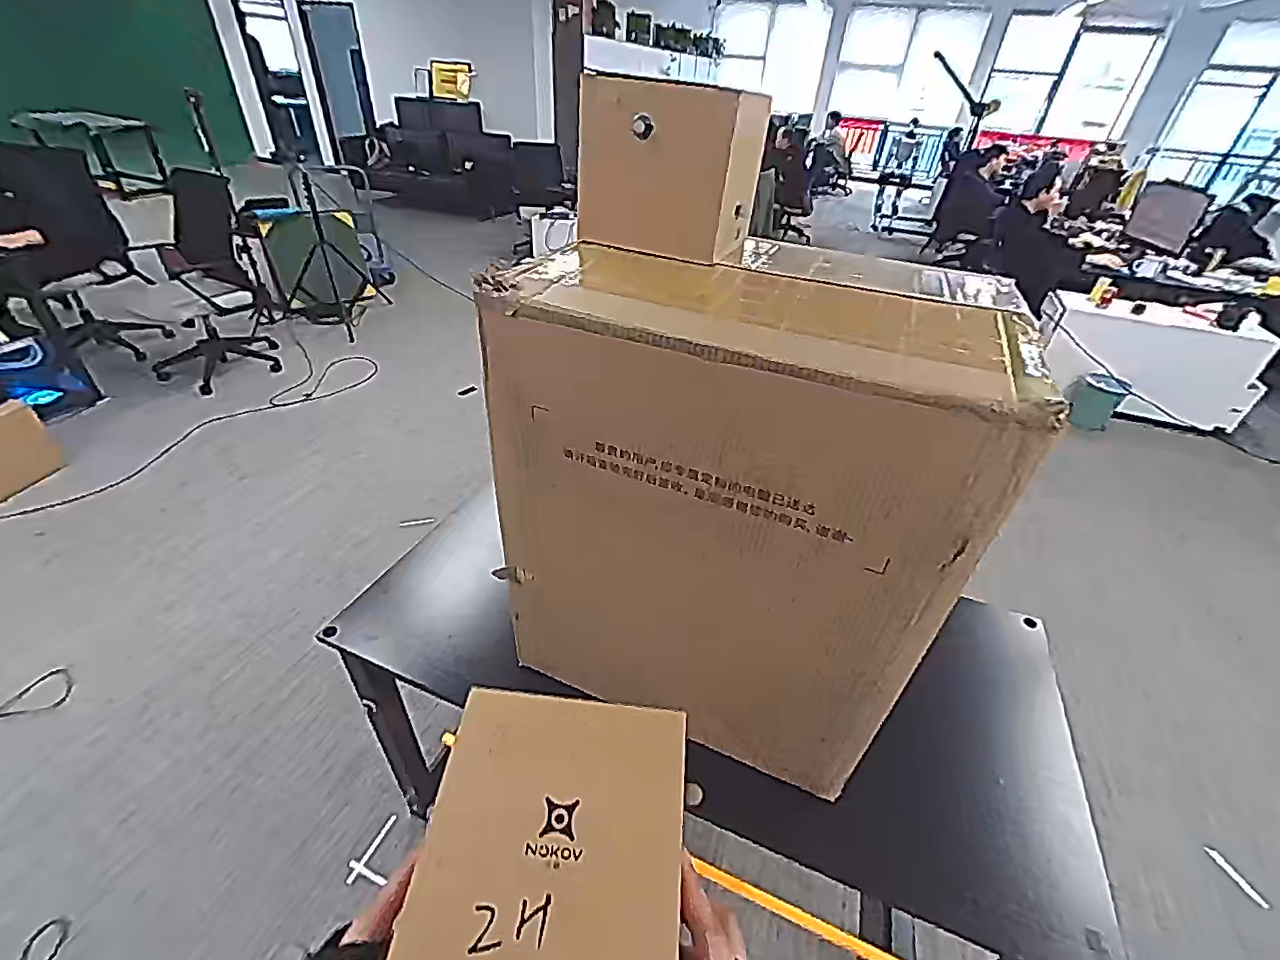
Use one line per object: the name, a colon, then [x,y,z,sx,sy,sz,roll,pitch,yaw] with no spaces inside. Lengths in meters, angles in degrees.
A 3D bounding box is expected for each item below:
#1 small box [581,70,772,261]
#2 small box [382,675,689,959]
small box: [0.040,-0.373,0.648,0.179,0.176,0.168,18,37,15]
small box: [-0.058,0.273,0.405,0.168,0.176,0.179,6,47,2]
